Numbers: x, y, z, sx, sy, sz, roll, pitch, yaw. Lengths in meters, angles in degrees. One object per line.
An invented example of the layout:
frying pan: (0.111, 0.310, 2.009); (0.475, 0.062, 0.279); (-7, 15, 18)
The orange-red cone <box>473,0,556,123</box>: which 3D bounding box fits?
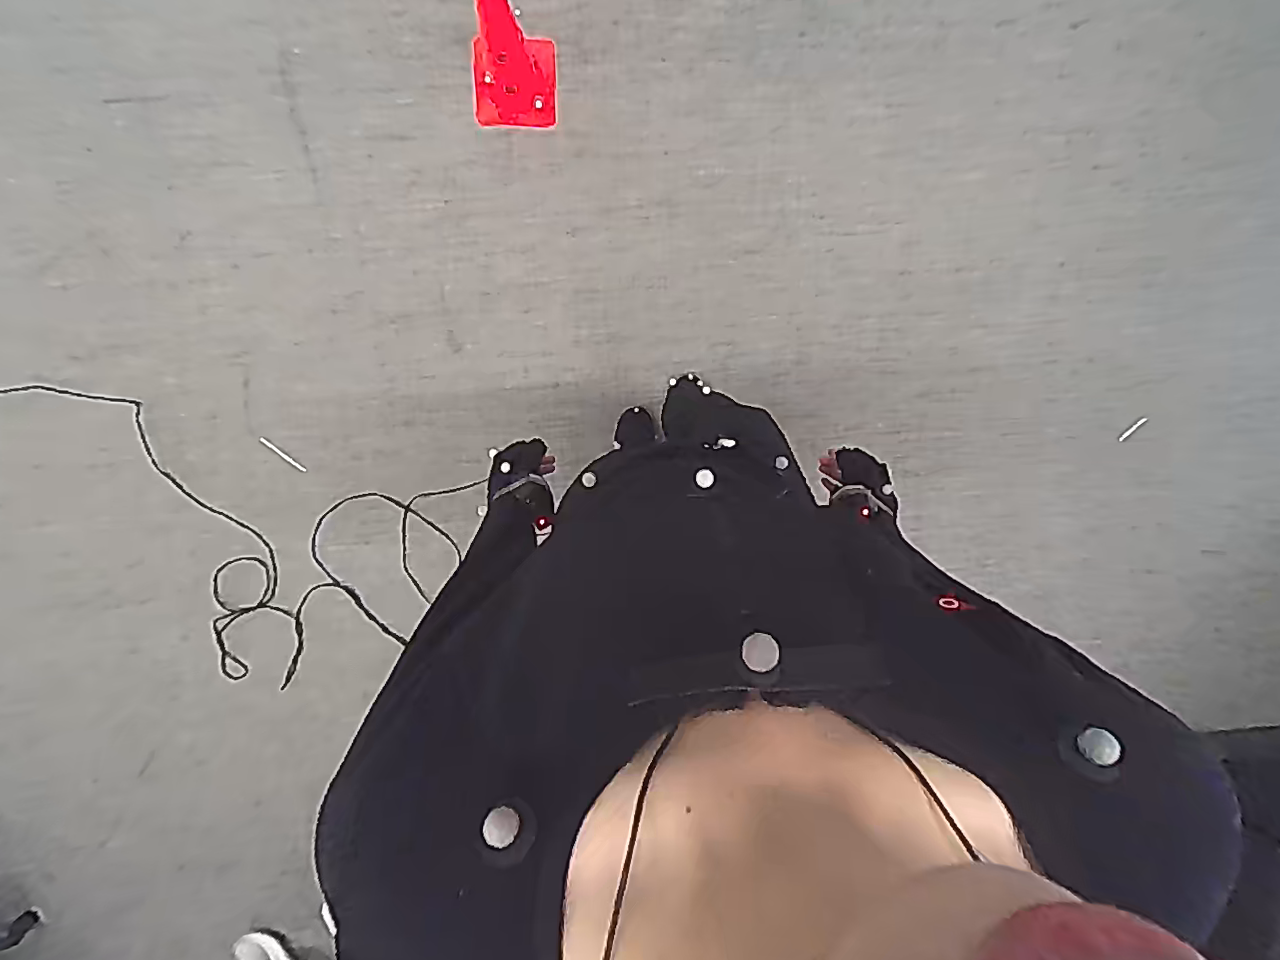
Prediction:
orange-red cone: (-0.293, -0.958, 1.148); (0.198, 0.360, 0.199); (0, 99, -4)
